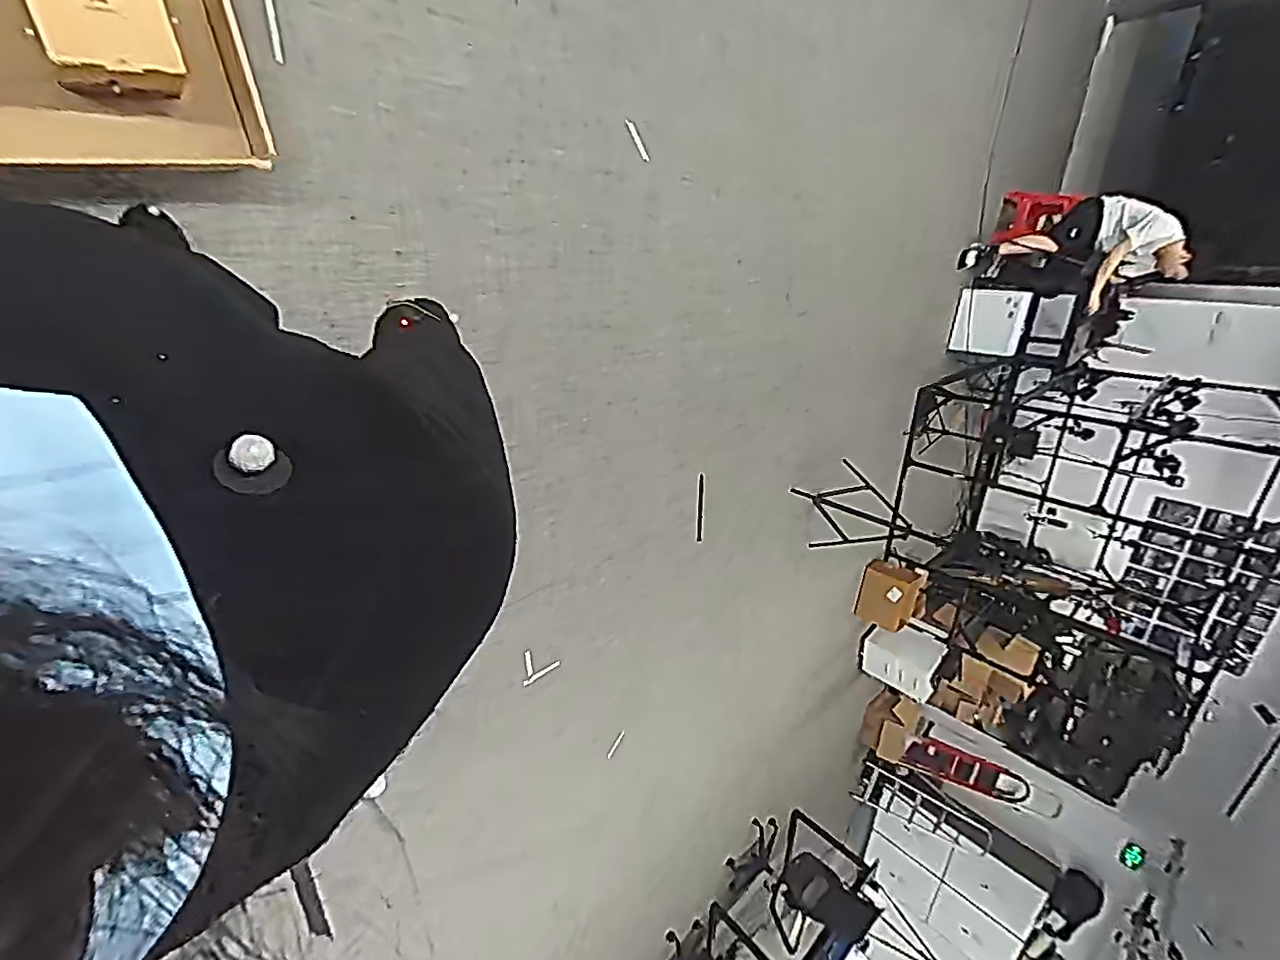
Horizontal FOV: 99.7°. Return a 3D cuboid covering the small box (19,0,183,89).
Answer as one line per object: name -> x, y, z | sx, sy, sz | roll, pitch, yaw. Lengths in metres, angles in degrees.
small box -> -0.868, -0.750, 0.857 | 0.168, 0.176, 0.179 | -24, 123, -36
